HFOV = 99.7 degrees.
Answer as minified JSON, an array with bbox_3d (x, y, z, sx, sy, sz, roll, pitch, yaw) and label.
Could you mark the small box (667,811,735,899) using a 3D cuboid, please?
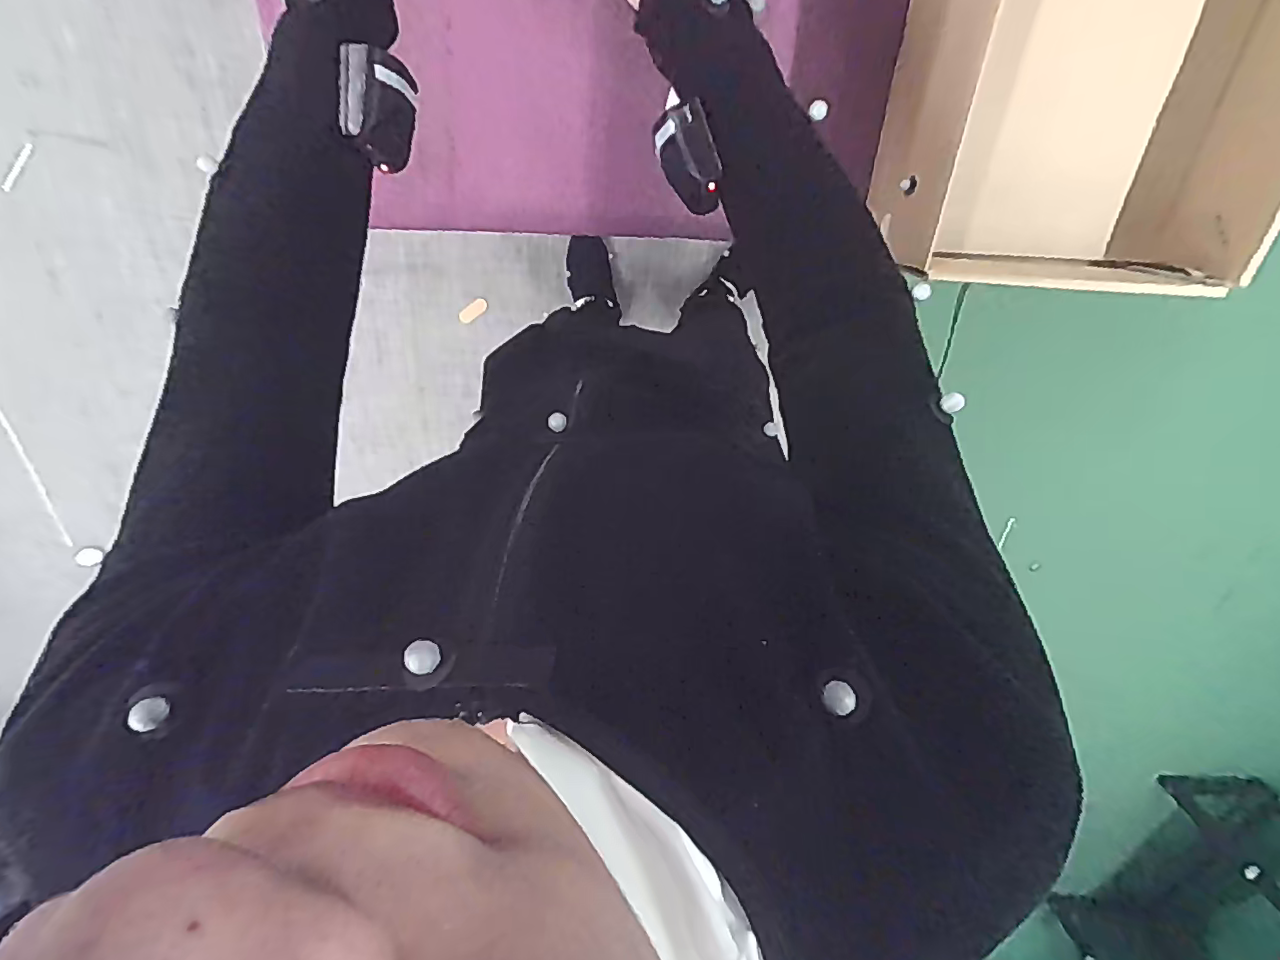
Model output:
[{"bbox_3d":[0.199,1.255,1.814,0.179,0.176,0.168,-23,117,9],"label":"small box"}]
